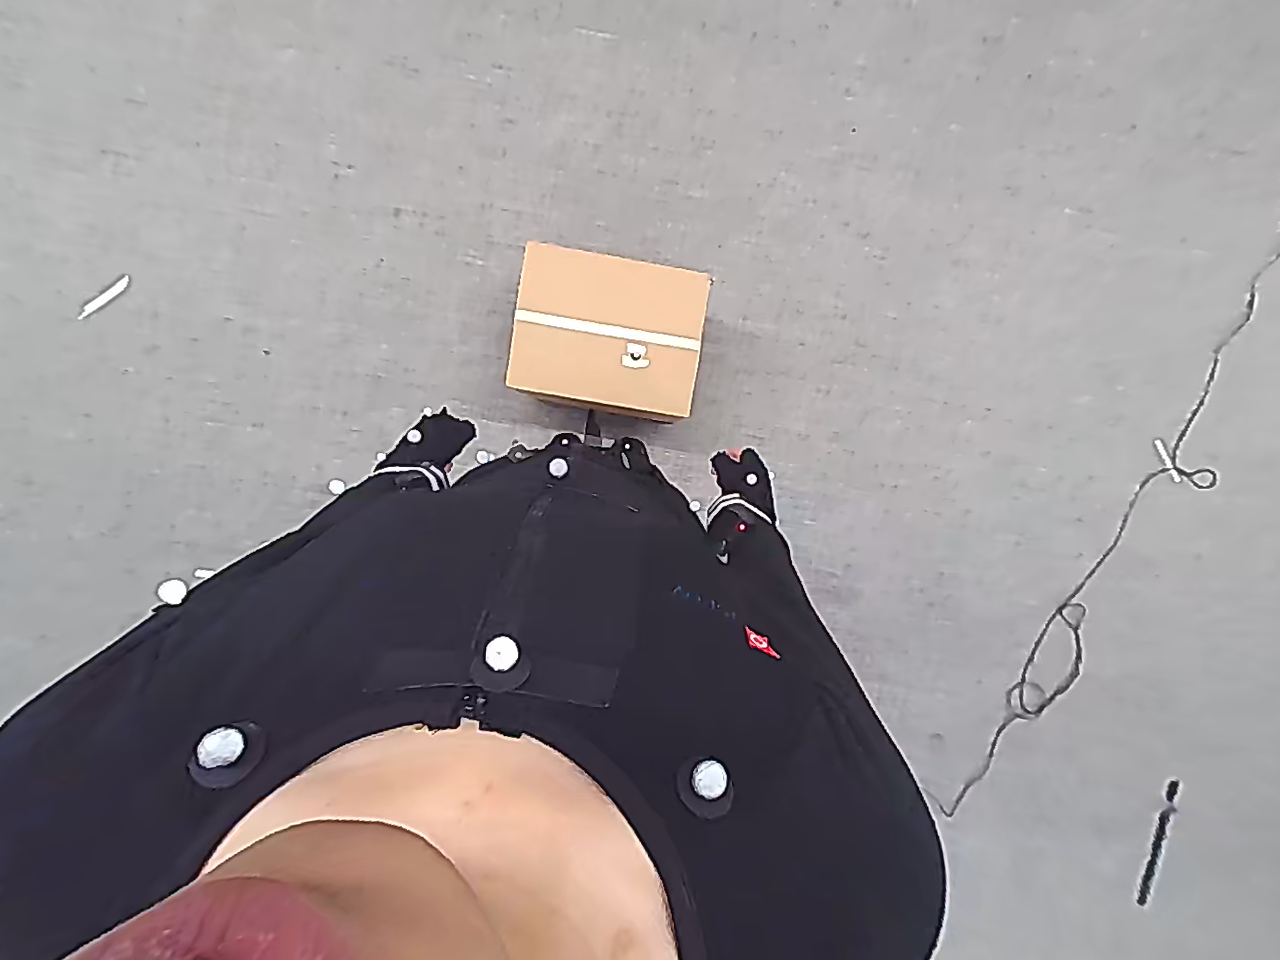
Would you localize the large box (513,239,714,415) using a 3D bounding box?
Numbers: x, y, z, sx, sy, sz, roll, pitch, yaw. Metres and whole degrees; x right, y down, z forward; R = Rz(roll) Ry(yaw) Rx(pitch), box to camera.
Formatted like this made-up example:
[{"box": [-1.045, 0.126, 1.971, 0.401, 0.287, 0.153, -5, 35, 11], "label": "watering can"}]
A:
[{"box": [-0.066, -0.345, 1.312, 0.408, 0.320, 0.320, 9, 95, -3], "label": "large box"}]
